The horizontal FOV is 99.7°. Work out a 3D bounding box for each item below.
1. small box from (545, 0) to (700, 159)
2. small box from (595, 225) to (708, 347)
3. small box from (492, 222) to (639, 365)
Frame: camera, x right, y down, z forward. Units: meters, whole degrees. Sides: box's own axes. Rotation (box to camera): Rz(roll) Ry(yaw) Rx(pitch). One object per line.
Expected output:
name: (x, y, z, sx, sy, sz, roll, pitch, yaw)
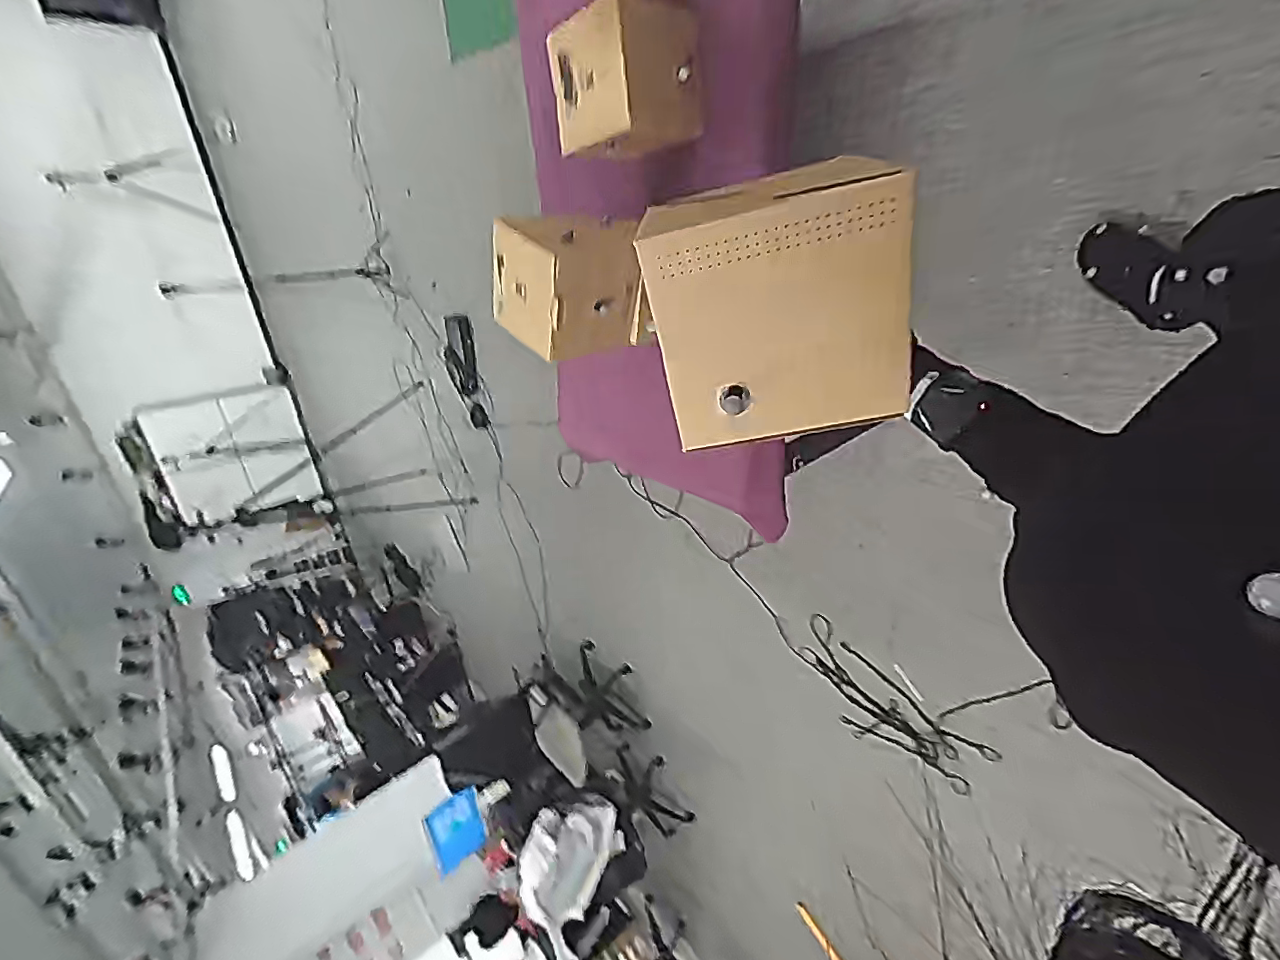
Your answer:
small box: (-0.025, -0.627, 0.869, 0.179, 0.176, 0.168, 15, 121, 45)
small box: (0.001, -0.362, 0.983, 0.179, 0.176, 0.168, 34, 133, 36)
small box: (-0.124, -0.315, 0.888, 0.179, 0.176, 0.168, 40, 136, 30)
